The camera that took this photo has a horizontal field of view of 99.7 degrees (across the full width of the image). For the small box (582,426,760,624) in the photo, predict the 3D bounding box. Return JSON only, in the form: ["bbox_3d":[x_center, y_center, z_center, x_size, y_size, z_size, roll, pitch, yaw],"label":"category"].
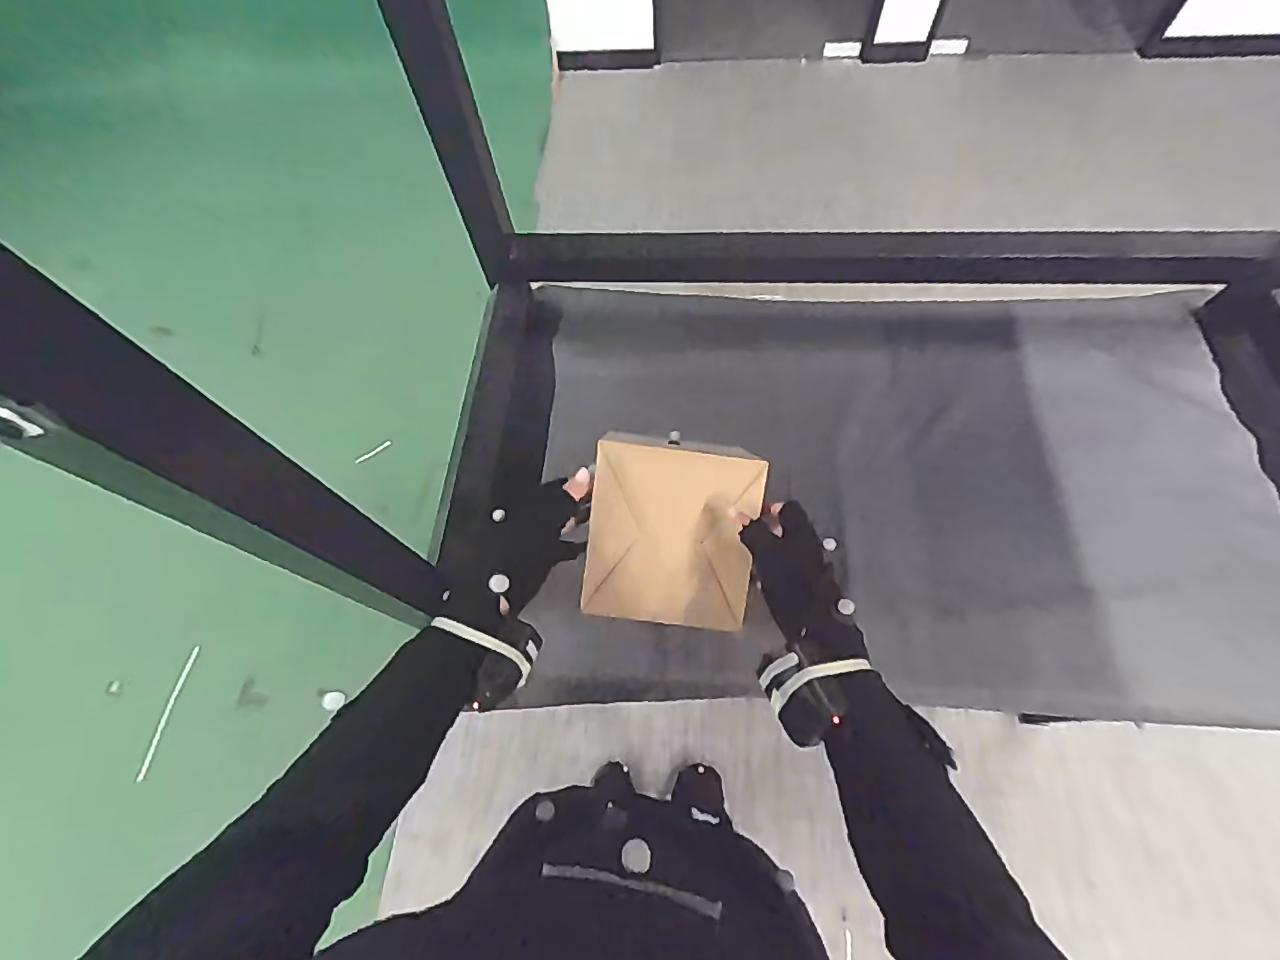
[{"bbox_3d":[0.031,0.040,0.611,0.168,0.176,0.179,7,100,0],"label":"small box"}]
